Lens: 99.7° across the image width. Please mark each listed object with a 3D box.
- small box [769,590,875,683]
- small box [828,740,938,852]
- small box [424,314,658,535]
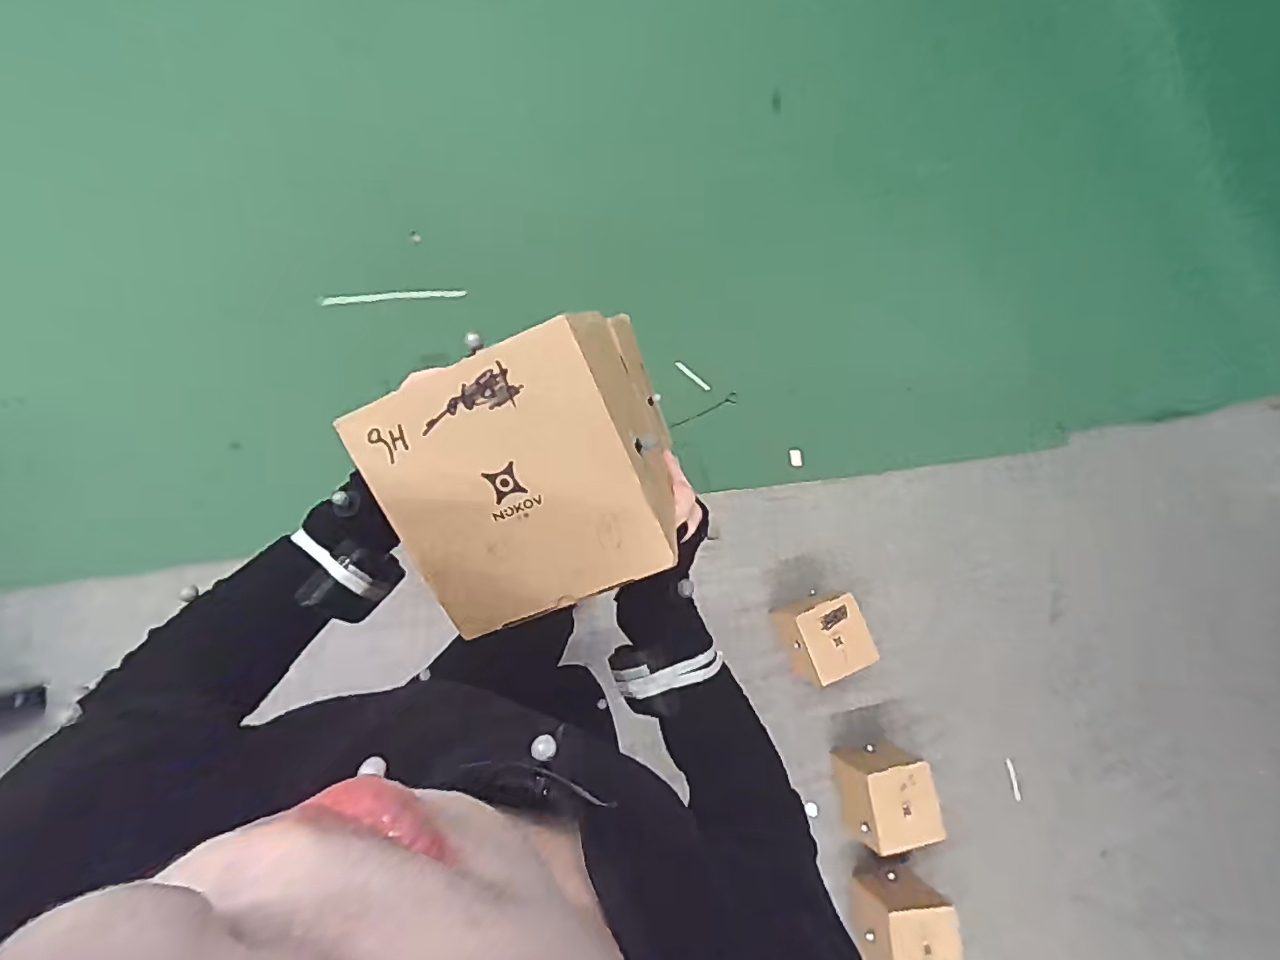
[{"bbox_3d":[0.453,0.391,1.375,0.168,0.176,0.179,-19,83,-12],"label":"small box"},{"bbox_3d":[0.585,0.763,1.323,0.168,0.176,0.179,-6,80,-11],"label":"small box"},{"bbox_3d":[-0.087,-0.067,0.576,0.179,0.176,0.168,-19,106,8],"label":"small box"}]
